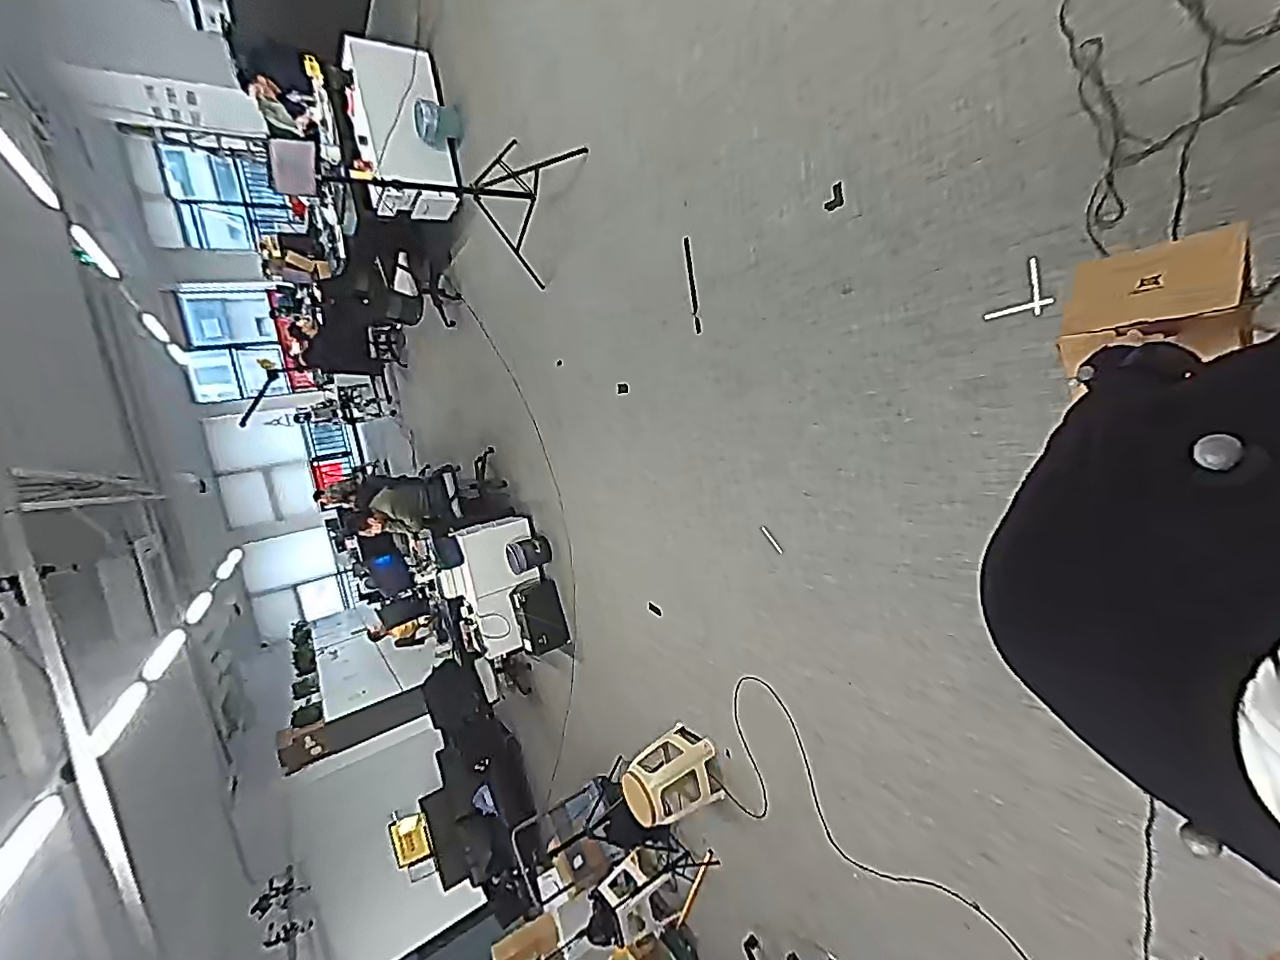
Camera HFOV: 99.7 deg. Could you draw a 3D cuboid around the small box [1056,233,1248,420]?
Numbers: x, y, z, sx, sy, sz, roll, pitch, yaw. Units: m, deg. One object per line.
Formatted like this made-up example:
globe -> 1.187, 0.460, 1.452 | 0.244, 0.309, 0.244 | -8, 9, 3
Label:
small box -> 0.703, -0.194, 0.740 | 0.168, 0.179, 0.176 | 2, 136, 50
